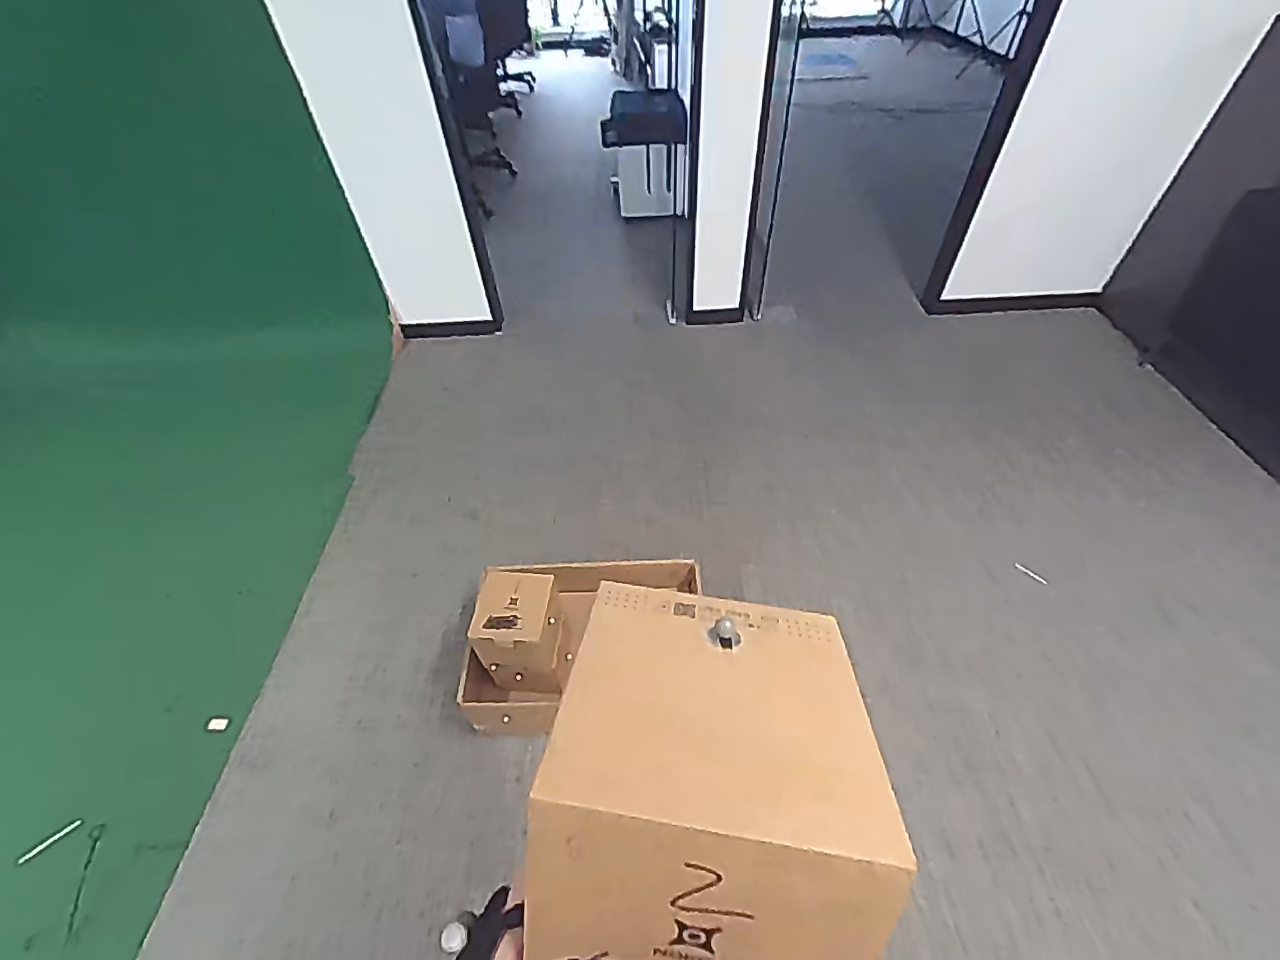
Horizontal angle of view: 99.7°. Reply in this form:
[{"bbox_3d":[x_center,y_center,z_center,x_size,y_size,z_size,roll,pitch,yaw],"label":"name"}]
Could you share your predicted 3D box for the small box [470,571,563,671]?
[{"bbox_3d":[-0.288,0.344,1.306,0.168,0.176,0.179,3,47,4],"label":"small box"}]
